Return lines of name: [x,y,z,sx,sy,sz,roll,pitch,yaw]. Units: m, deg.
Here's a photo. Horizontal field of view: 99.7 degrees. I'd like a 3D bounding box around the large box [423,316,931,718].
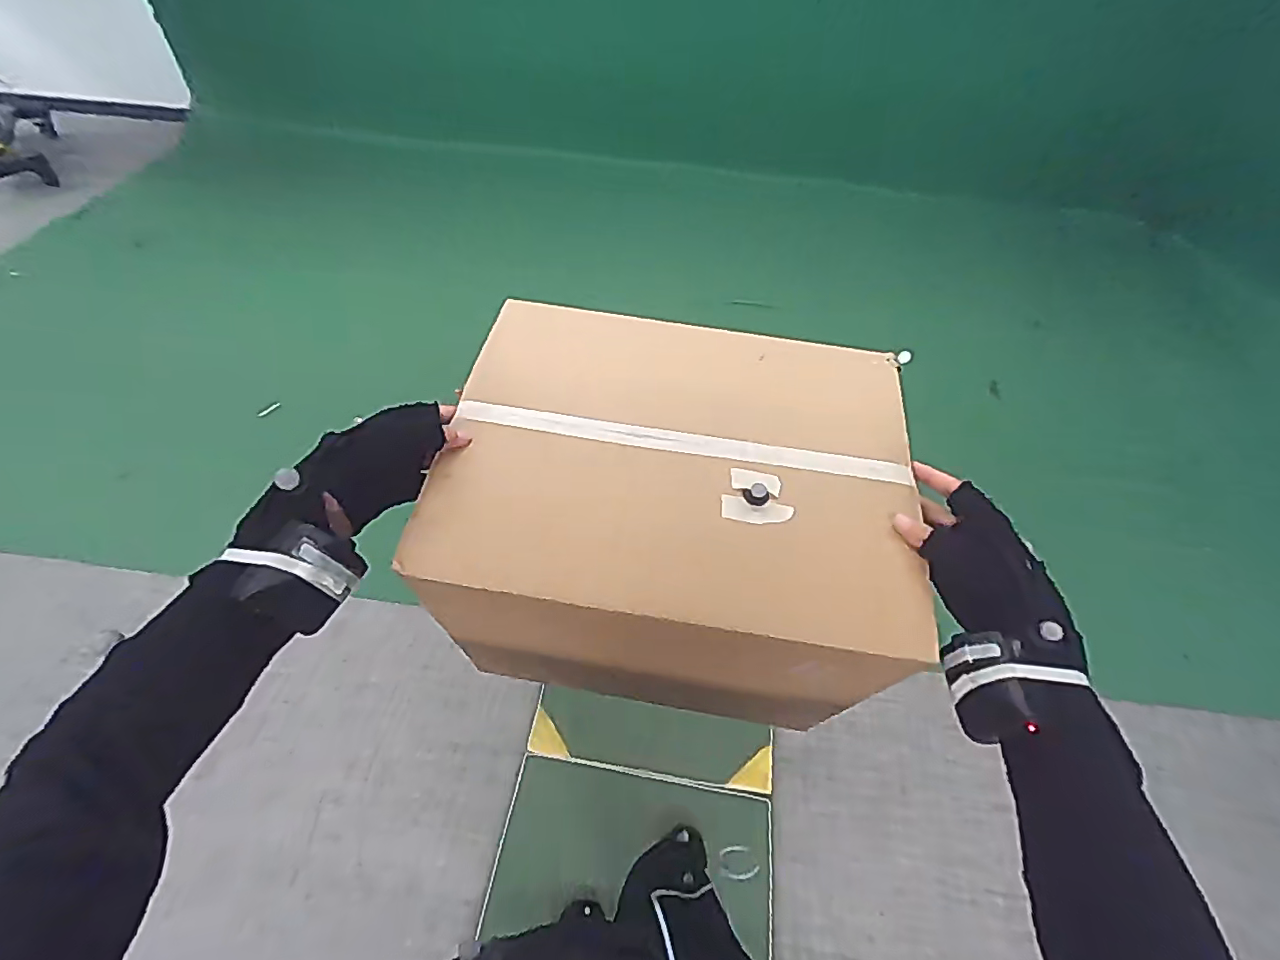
large box: [0.035,0.056,0.617,0.408,0.320,0.320,9,58,2]
